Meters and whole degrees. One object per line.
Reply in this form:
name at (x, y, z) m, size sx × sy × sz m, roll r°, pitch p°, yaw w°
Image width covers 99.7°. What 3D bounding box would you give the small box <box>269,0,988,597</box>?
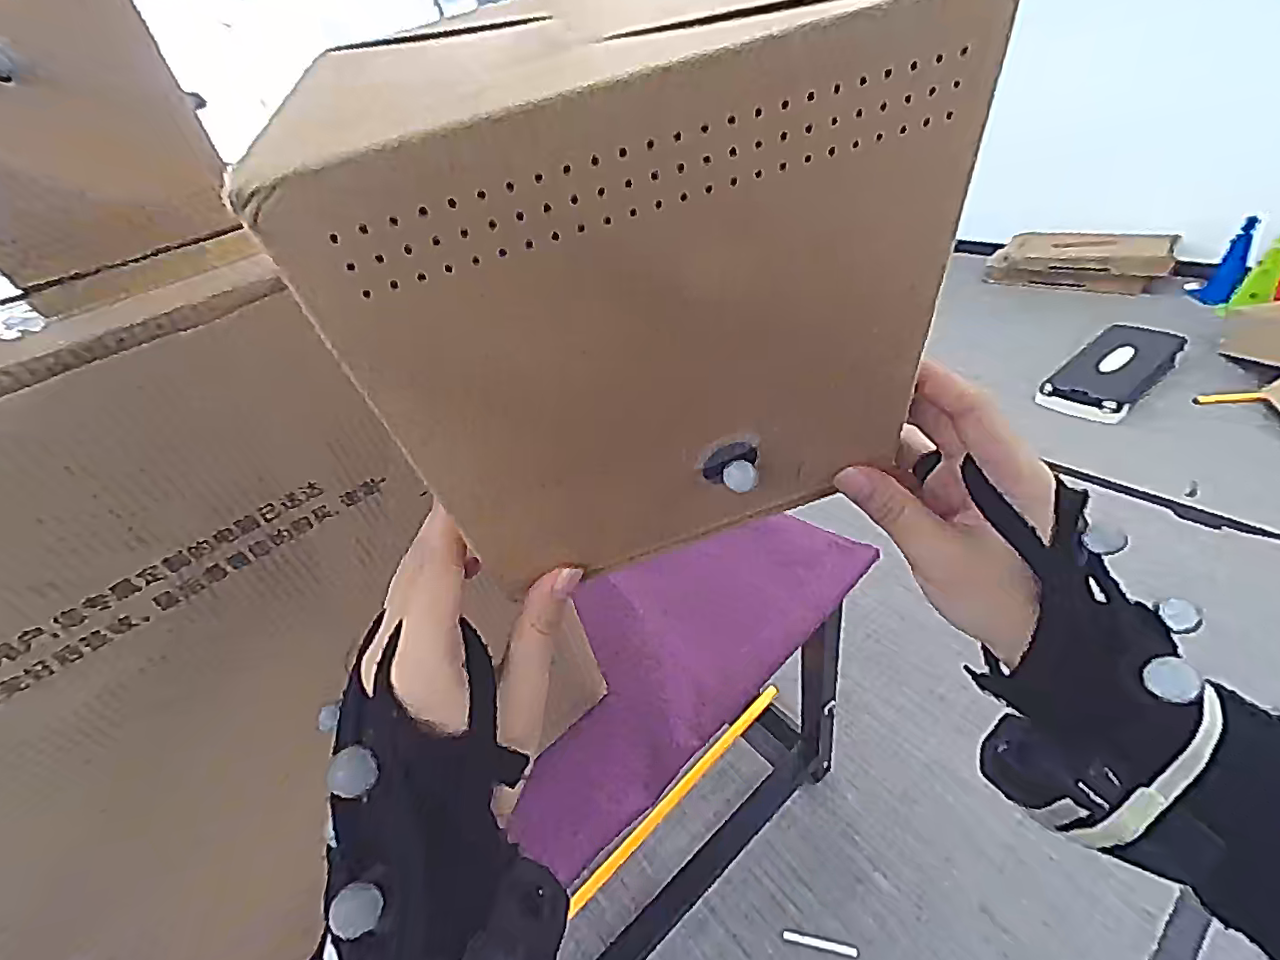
small box at (-0.004, -0.085, 0.224) m, size 0.179 × 0.176 × 0.168 m, roll -18°, pitch 48°, yaw -5°
